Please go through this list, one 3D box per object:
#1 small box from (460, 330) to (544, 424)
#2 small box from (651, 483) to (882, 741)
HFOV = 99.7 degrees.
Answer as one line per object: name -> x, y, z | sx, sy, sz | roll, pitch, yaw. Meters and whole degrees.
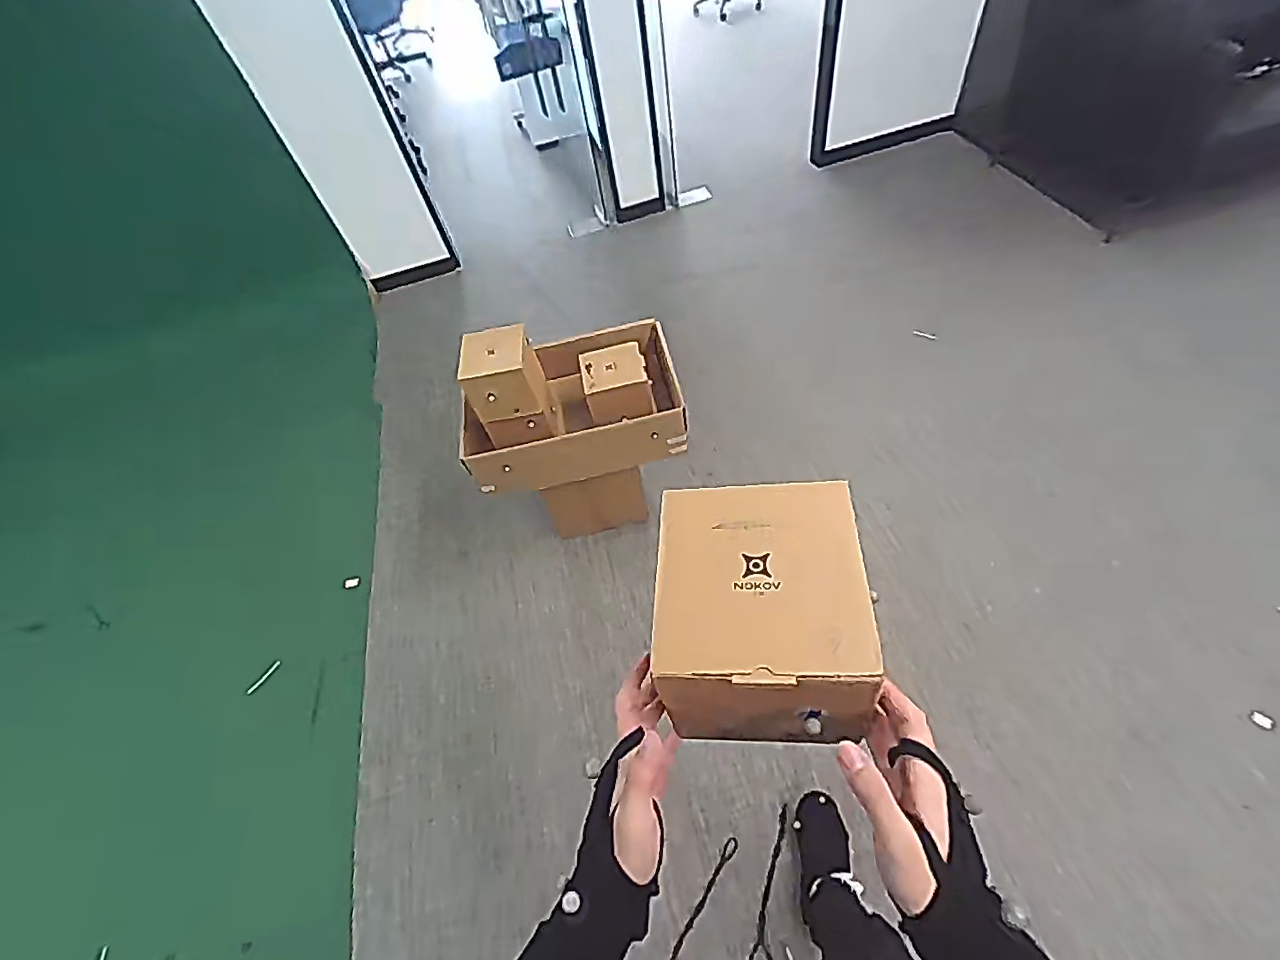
small box -> -0.356, -0.263, 1.427 | 0.168, 0.176, 0.179 | -10, 52, 3
small box -> 0.111, 0.125, 0.495 | 0.168, 0.176, 0.179 | -3, 49, 12
